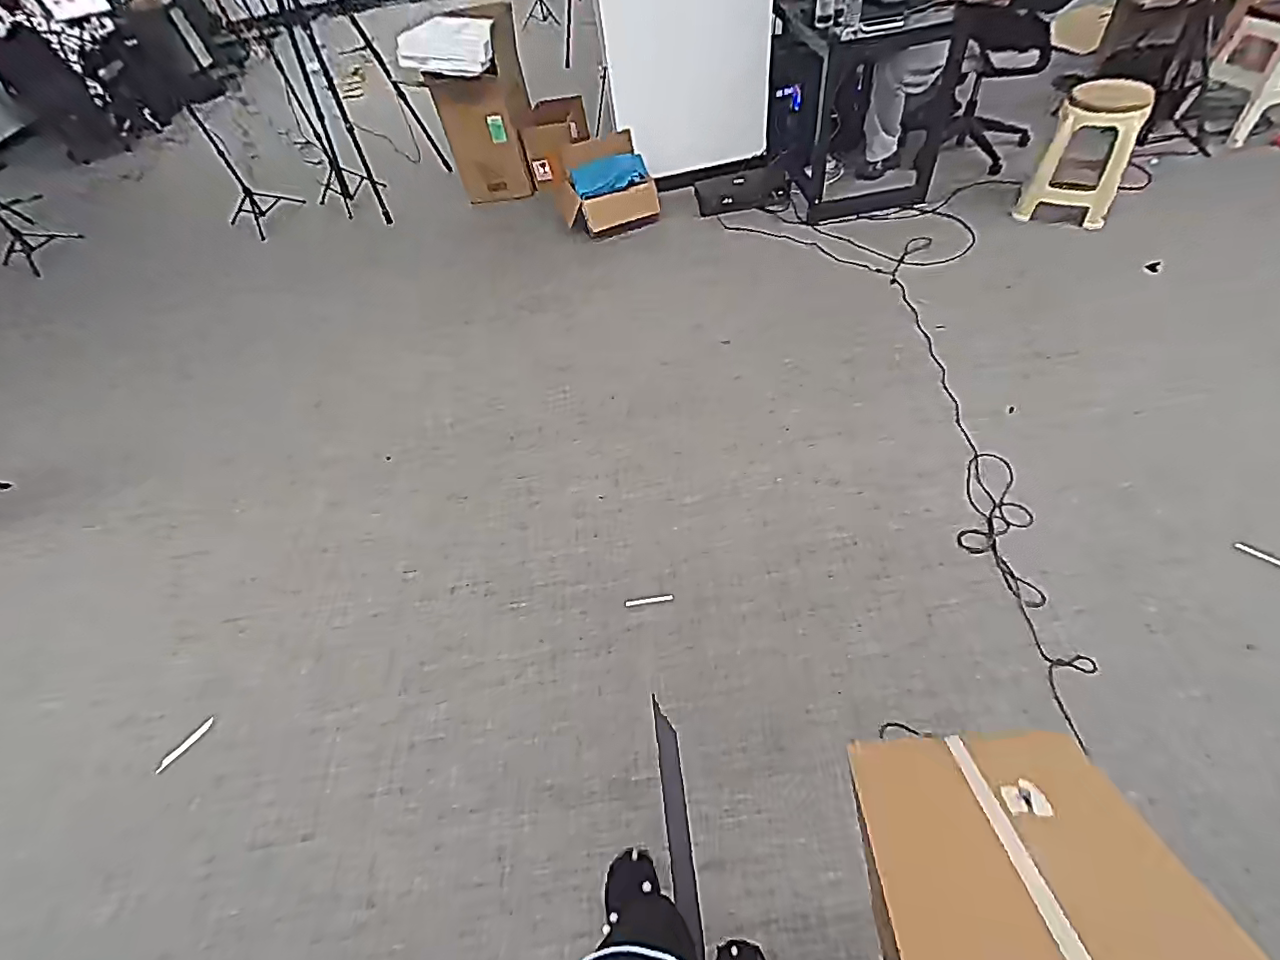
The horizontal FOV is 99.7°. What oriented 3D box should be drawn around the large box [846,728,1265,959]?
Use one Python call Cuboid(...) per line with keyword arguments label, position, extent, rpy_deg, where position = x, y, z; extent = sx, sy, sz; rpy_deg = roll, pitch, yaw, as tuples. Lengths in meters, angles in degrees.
Cuboid(label="large box", position=(0.476, 0.581, 0.675), extent=(0.320, 0.320, 0.408), rpy_deg=(-9, 9, 13))
